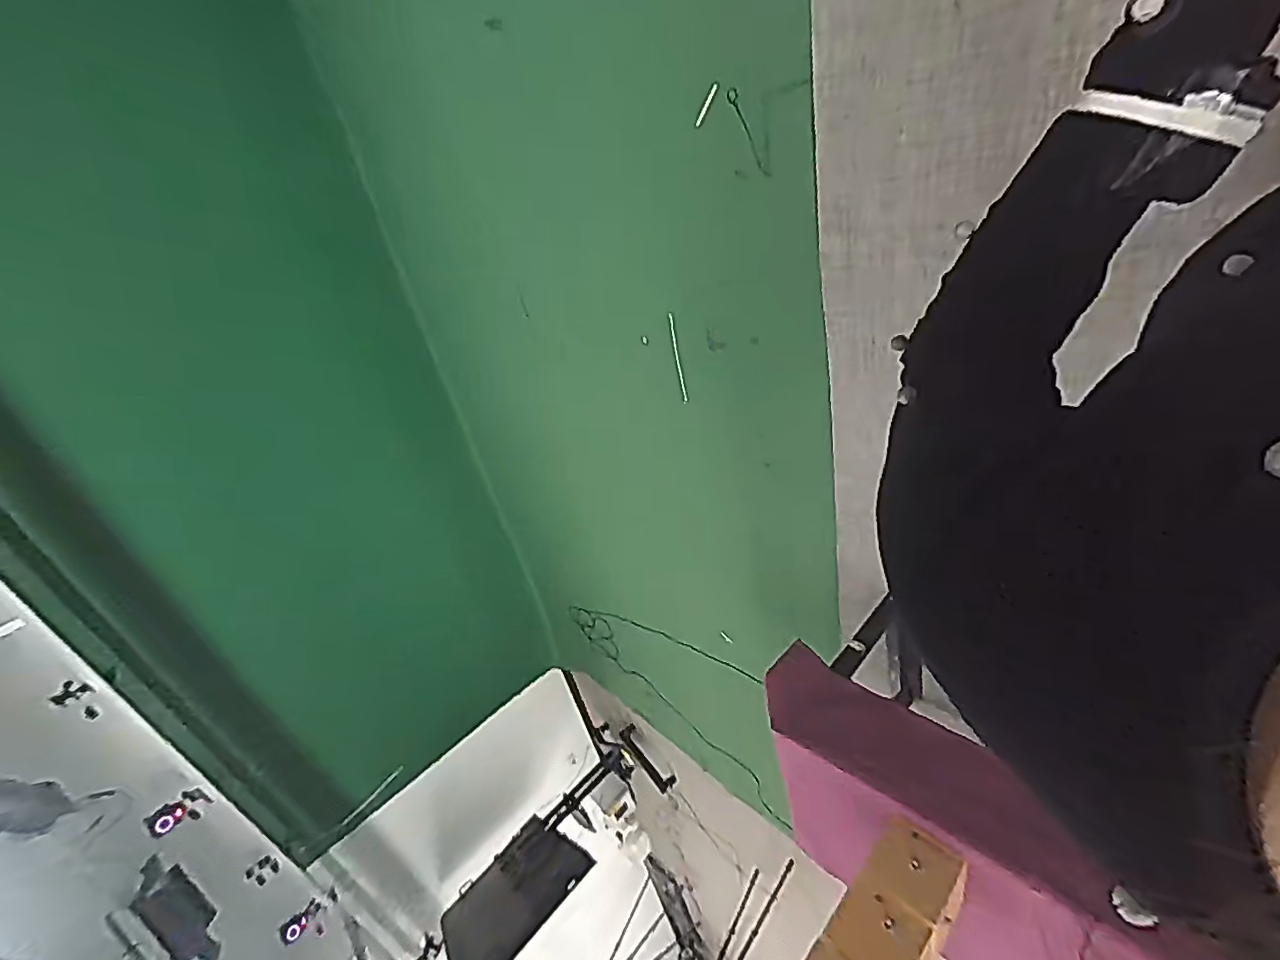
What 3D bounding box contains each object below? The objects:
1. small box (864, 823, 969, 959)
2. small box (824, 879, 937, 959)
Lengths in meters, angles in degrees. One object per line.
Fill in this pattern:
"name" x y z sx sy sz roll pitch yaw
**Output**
"small box" 0.635 0.941 1.241 0.168 0.176 0.179 17 131 46
"small box" 0.518 1.024 1.162 0.168 0.176 0.179 17 130 45
